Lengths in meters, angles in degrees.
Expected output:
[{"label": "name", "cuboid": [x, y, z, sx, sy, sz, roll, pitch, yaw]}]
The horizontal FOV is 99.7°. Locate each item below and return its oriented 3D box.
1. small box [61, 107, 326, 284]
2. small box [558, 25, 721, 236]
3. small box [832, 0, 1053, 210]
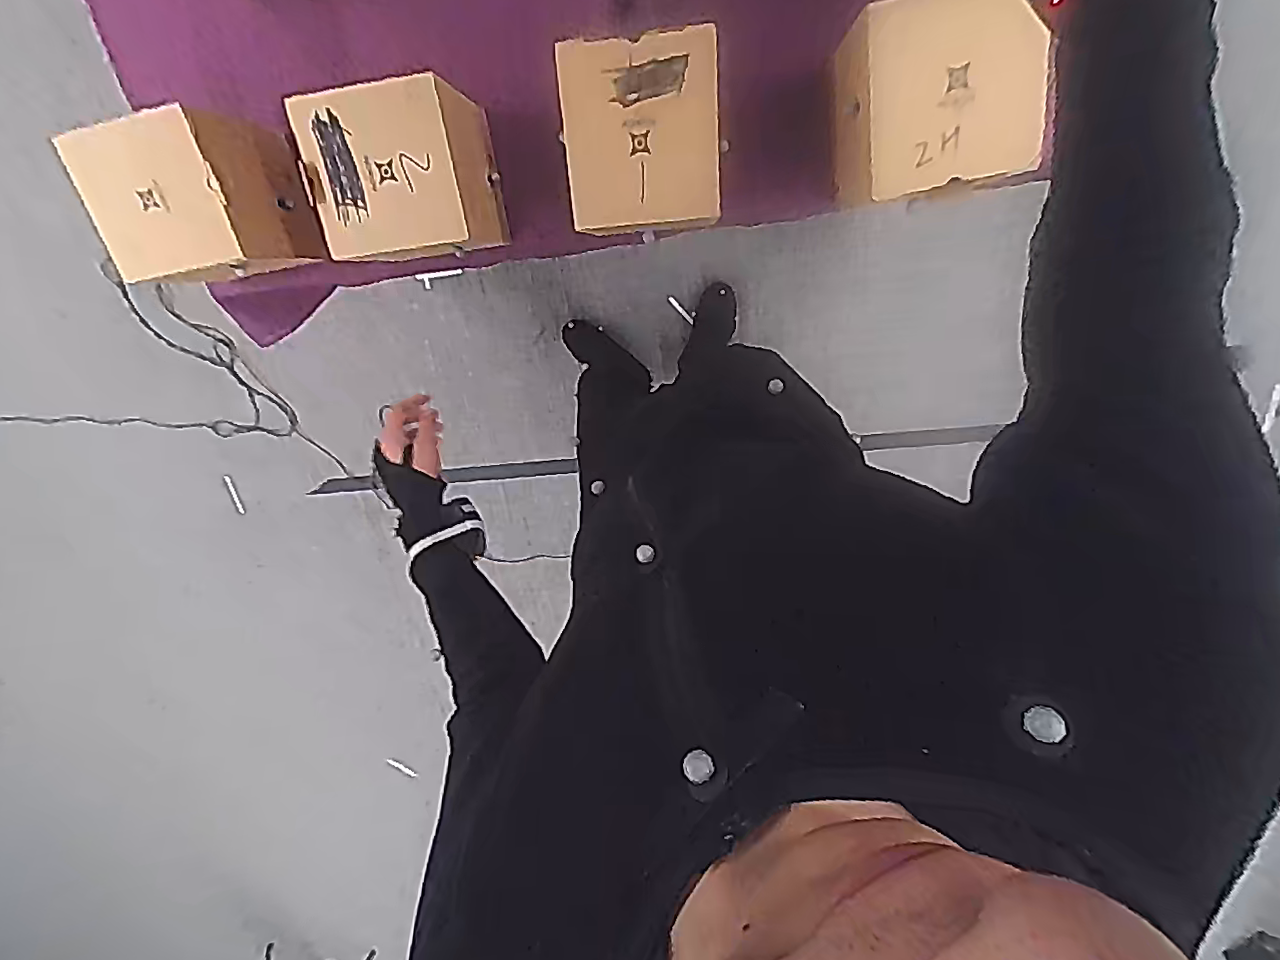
[{"label": "small box", "cuboid": [-0.567, -0.360, 0.716, 0.179, 0.176, 0.168, -9, 112, 8]}, {"label": "small box", "cuboid": [0.008, -0.396, 0.646, 0.168, 0.176, 0.179, -2, 113, 7]}, {"label": "small box", "cuboid": [0.319, -0.418, 0.606, 0.168, 0.176, 0.179, -7, 112, 10]}]
